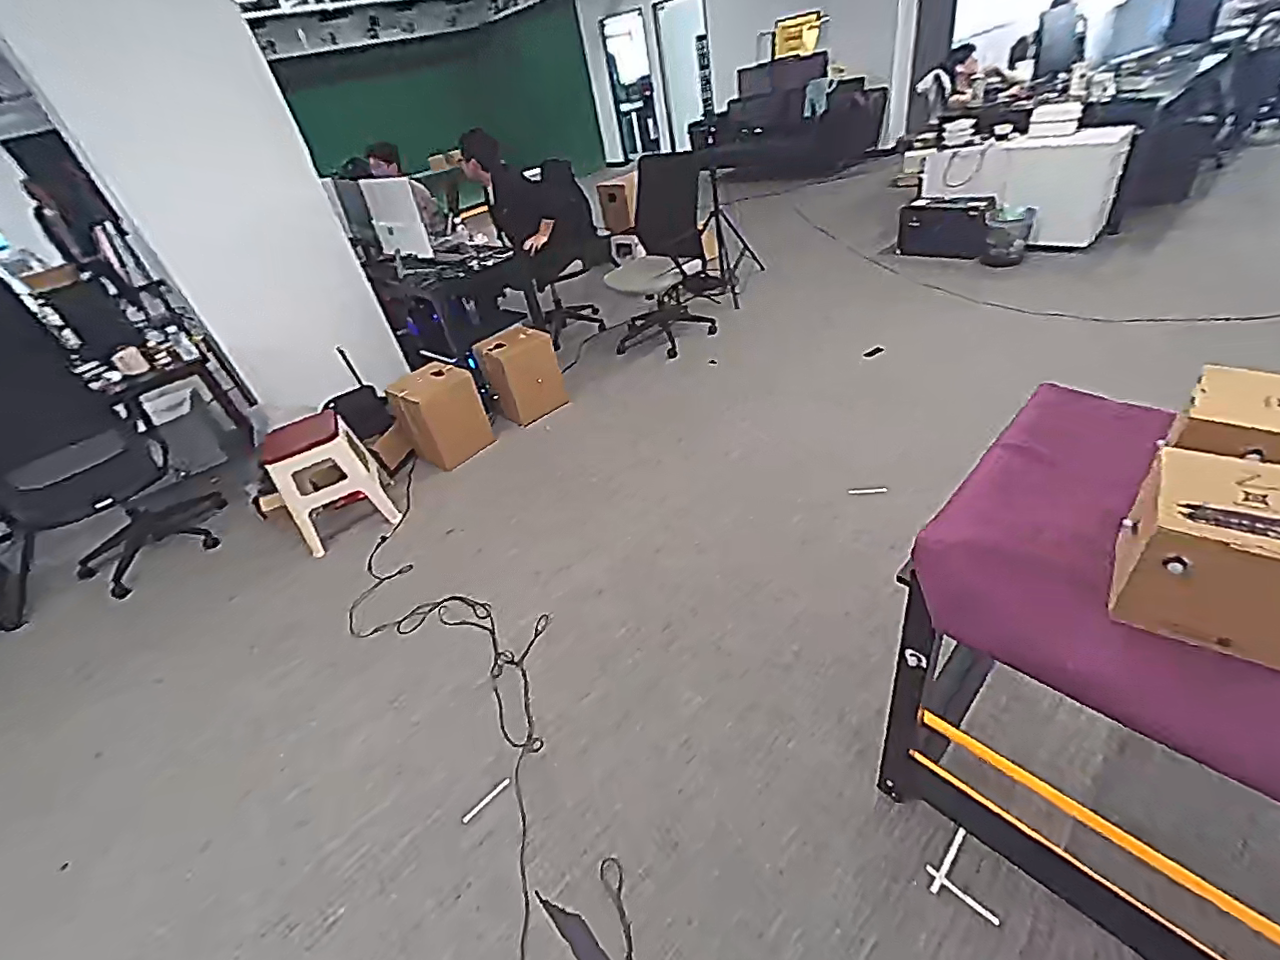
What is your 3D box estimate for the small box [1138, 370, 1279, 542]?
[{"bbox_3d":[0.882,-0.035,0.788,0.179,0.176,0.168,23,50,38],"label":"small box"}]
